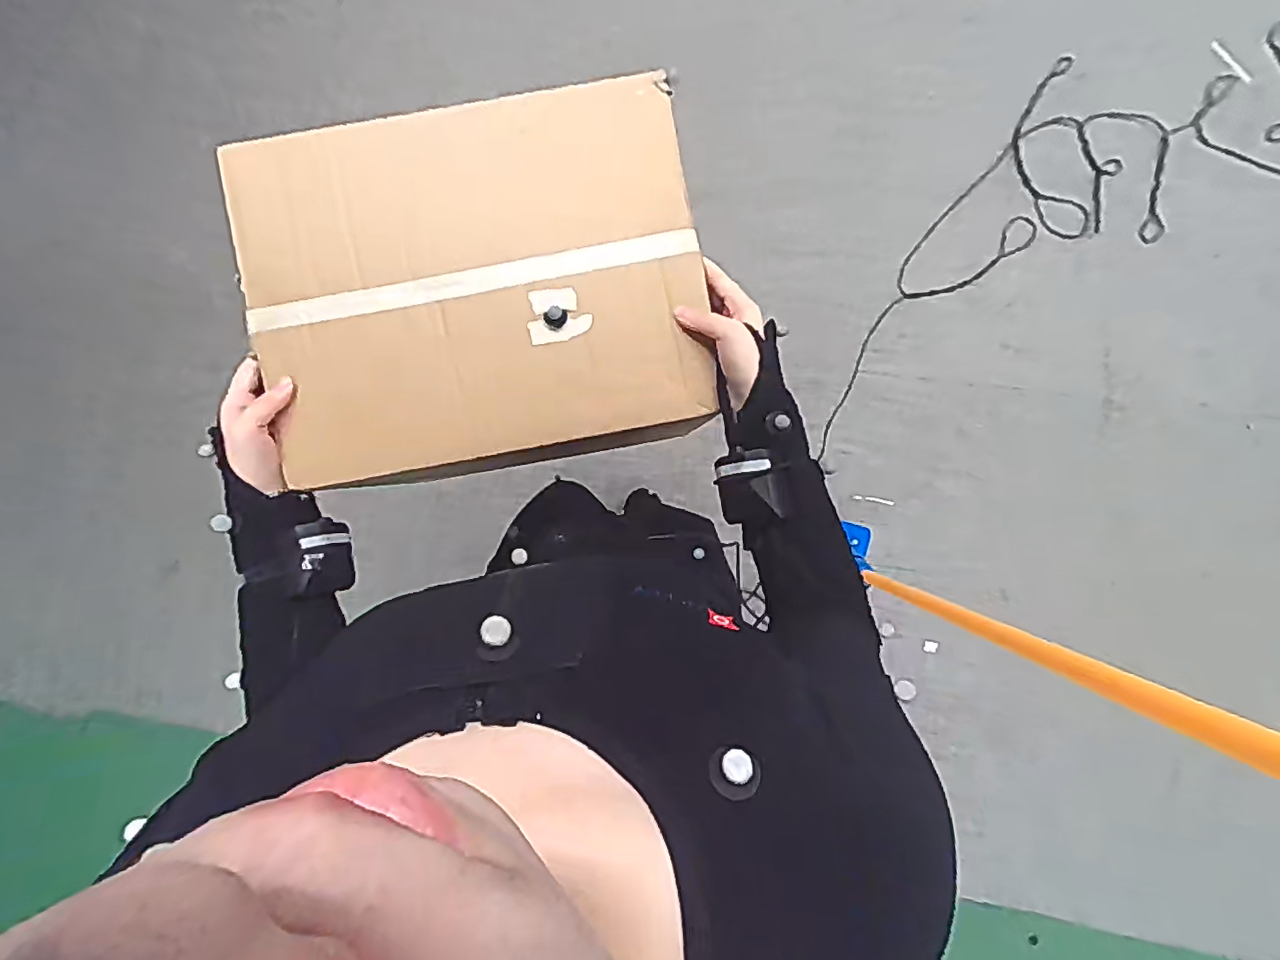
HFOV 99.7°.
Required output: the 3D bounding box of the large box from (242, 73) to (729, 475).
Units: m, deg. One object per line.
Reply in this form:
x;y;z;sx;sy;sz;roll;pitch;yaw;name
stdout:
-0.145;-0.192;0.642;0.408;0.320;0.320;-10;92;-2;large box
